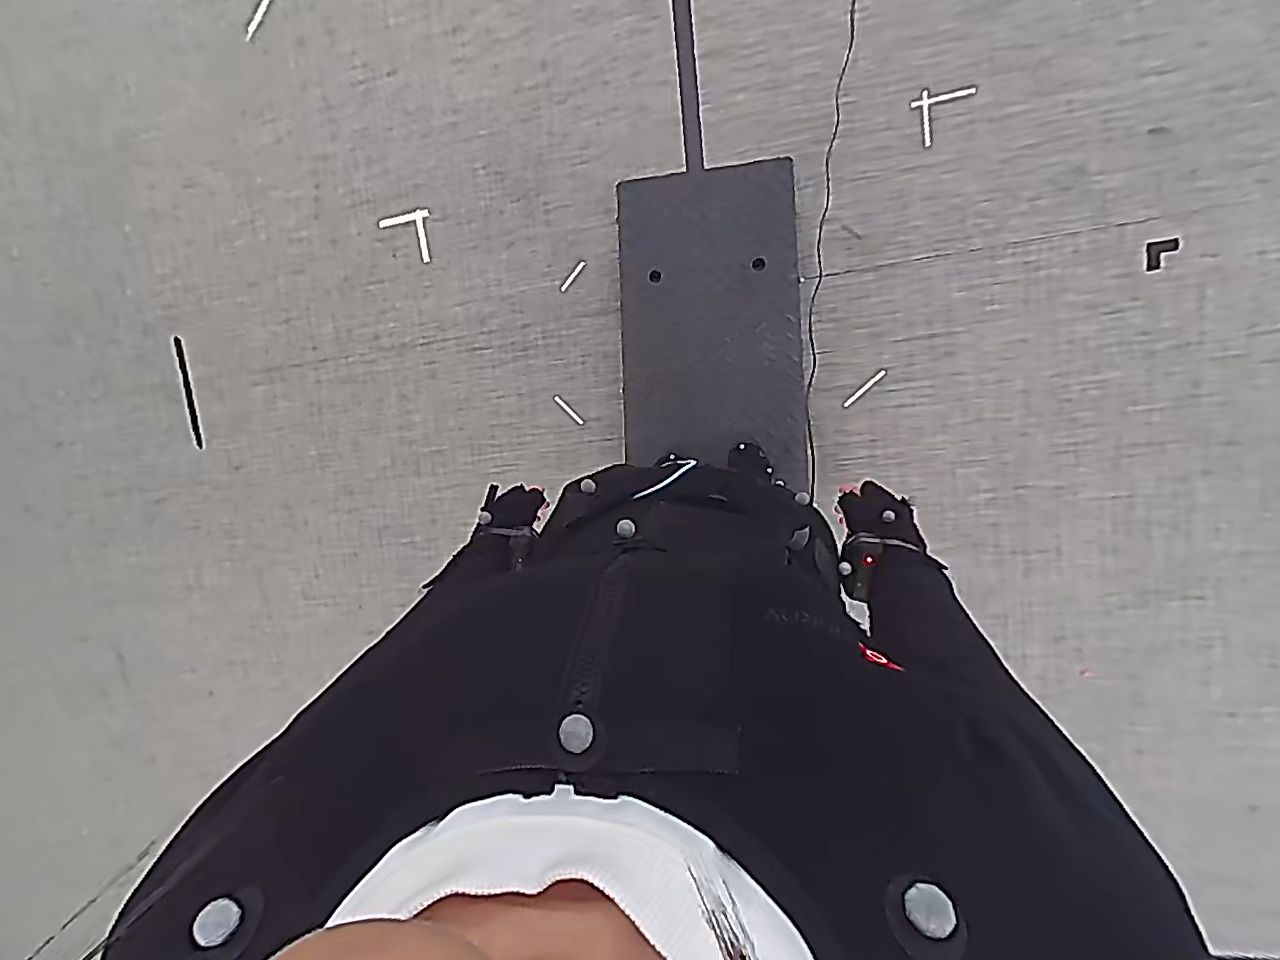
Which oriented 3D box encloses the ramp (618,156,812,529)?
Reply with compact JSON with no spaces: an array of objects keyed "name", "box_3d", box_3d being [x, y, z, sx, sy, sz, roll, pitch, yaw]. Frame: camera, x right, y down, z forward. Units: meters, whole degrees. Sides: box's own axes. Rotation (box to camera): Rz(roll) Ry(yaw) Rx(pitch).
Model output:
[{"name":"ramp","box_3d":[0.189,-0.370,1.478,0.509,0.206,0.991,-4,96,12]}]
